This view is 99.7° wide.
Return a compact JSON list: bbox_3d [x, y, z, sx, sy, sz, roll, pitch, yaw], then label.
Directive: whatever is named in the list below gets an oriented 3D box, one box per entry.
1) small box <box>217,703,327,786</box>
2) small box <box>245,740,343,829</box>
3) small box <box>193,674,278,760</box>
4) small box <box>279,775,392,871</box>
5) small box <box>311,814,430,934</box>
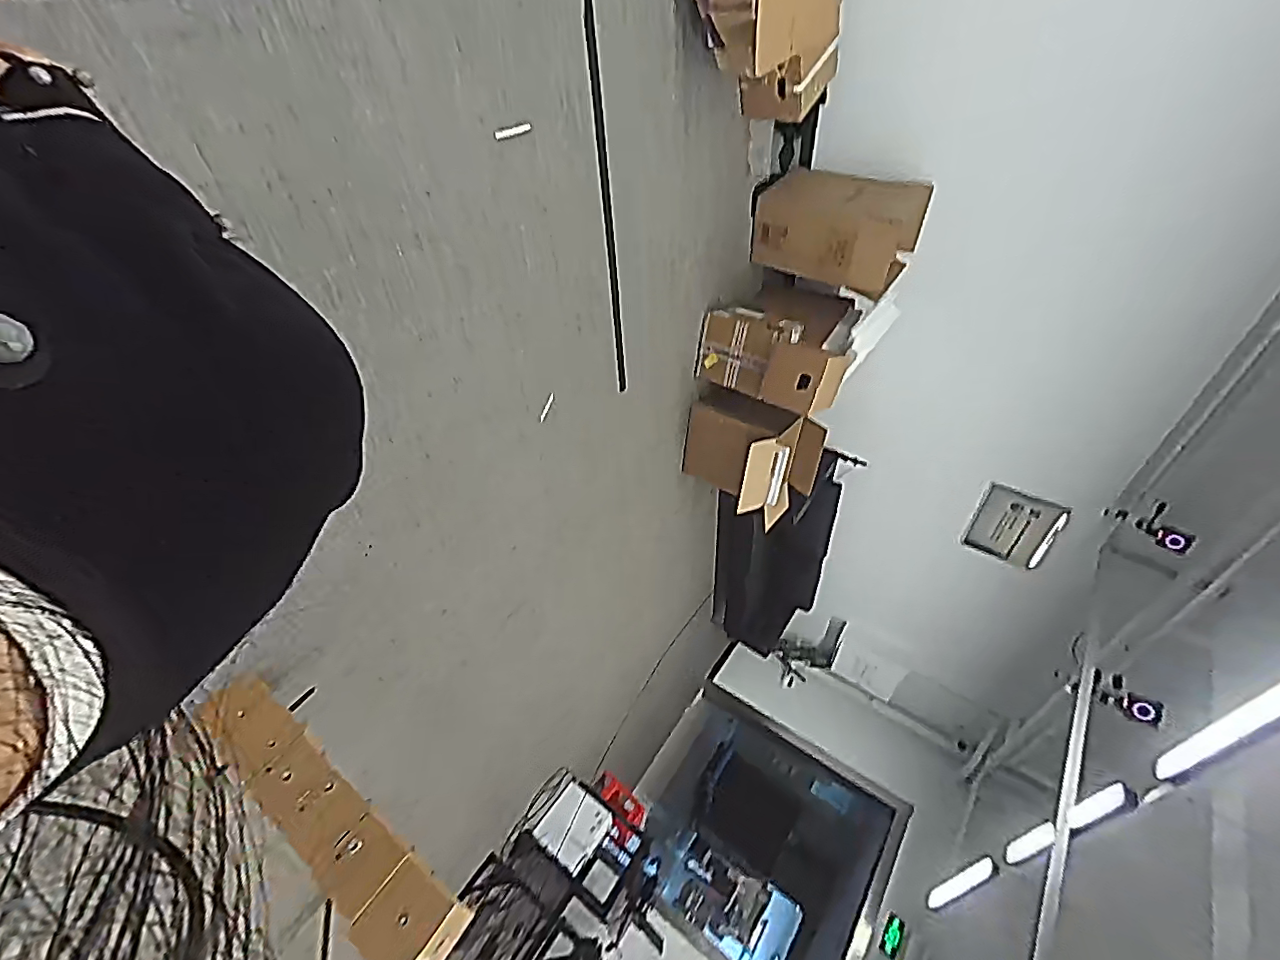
[{"bbox_3d":[-1.060,0.783,1.560,0.179,0.176,0.168,-44,145,-37],"label":"small box"},{"bbox_3d":[-0.932,0.850,1.484,0.168,0.176,0.179,-44,146,-36],"label":"small box"},{"bbox_3d":[-1.198,0.730,1.632,0.179,0.176,0.168,-46,147,-35],"label":"small box"},{"bbox_3d":[-0.796,0.910,1.414,0.168,0.176,0.179,-45,148,-36],"label":"small box"},{"bbox_3d":[-0.665,0.971,1.341,0.168,0.176,0.179,-47,147,-35],"label":"small box"}]
